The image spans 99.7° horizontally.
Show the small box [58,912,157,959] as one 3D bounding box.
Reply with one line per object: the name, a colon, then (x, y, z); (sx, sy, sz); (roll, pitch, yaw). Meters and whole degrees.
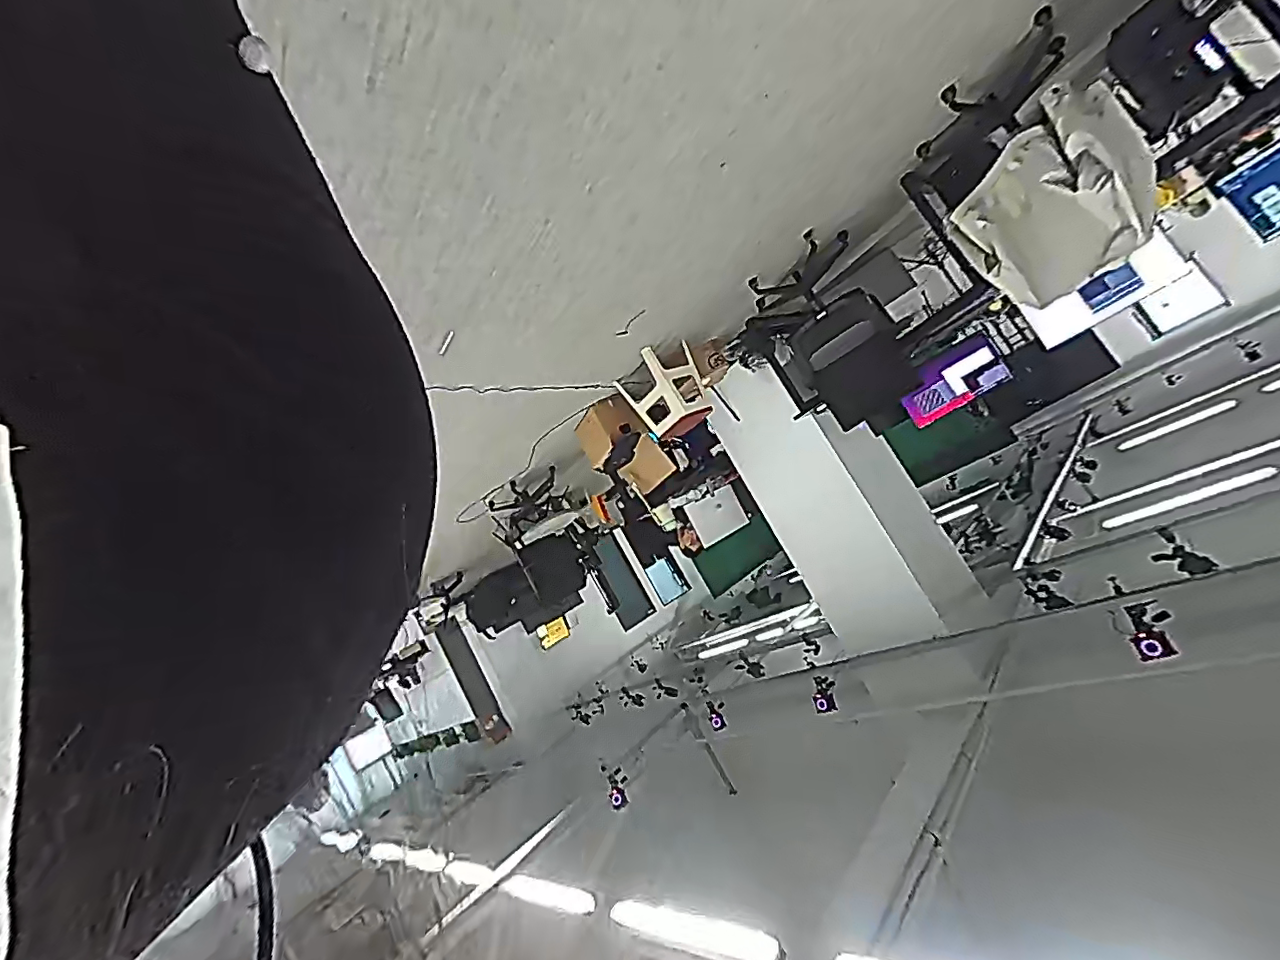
small box: (-1.599, 1.442, 1.620); (0.179, 0.176, 0.168); (-22, 171, -40)
